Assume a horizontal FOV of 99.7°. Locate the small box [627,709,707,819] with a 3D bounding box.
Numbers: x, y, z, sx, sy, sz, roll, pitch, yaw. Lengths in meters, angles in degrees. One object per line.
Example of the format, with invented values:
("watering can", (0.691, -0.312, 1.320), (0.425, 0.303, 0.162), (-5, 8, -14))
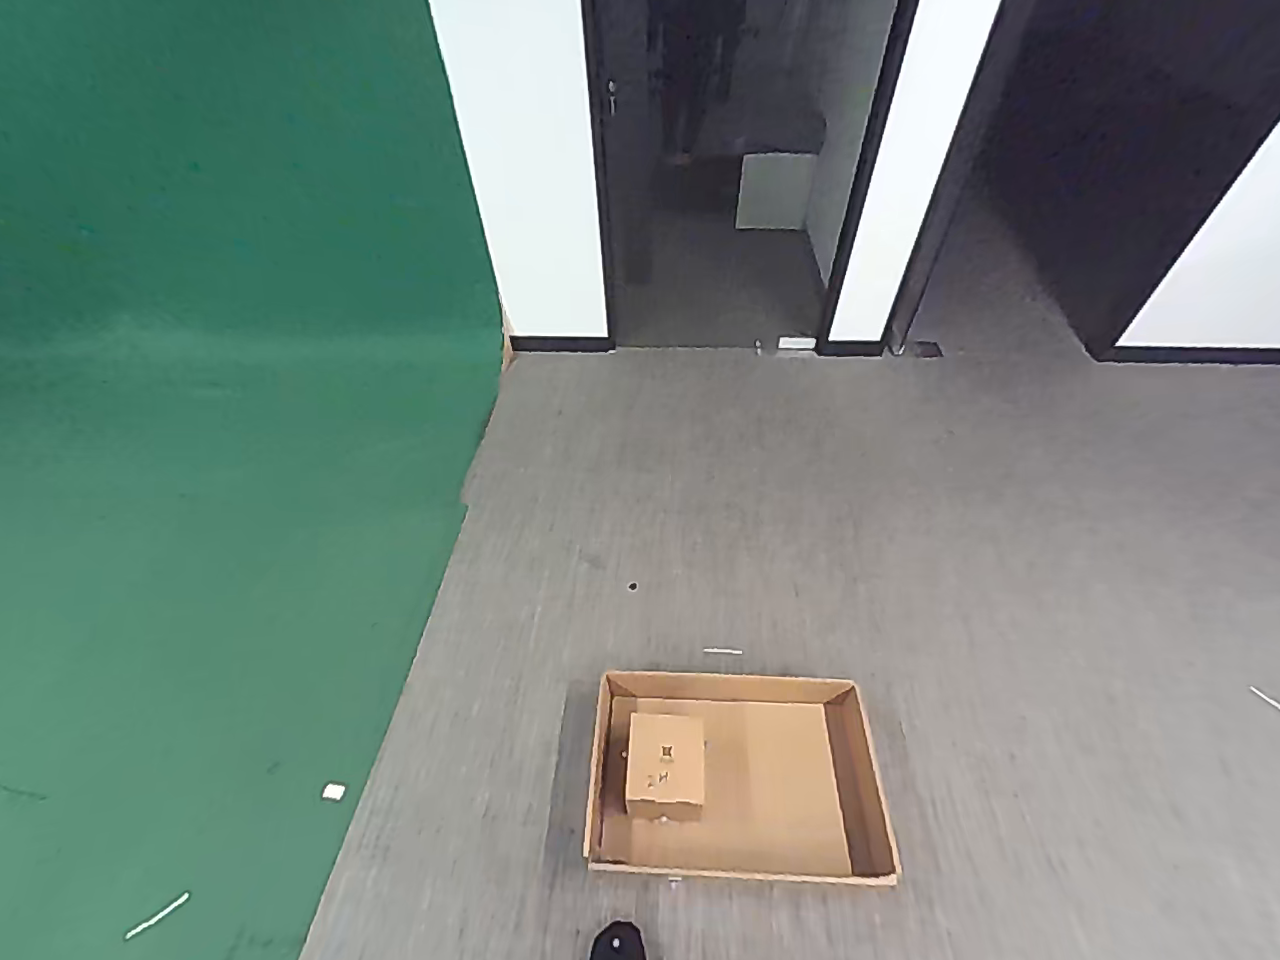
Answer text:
("small box", (0.061, 0.637, 1.214), (0.168, 0.176, 0.179), (2, 48, 4))
